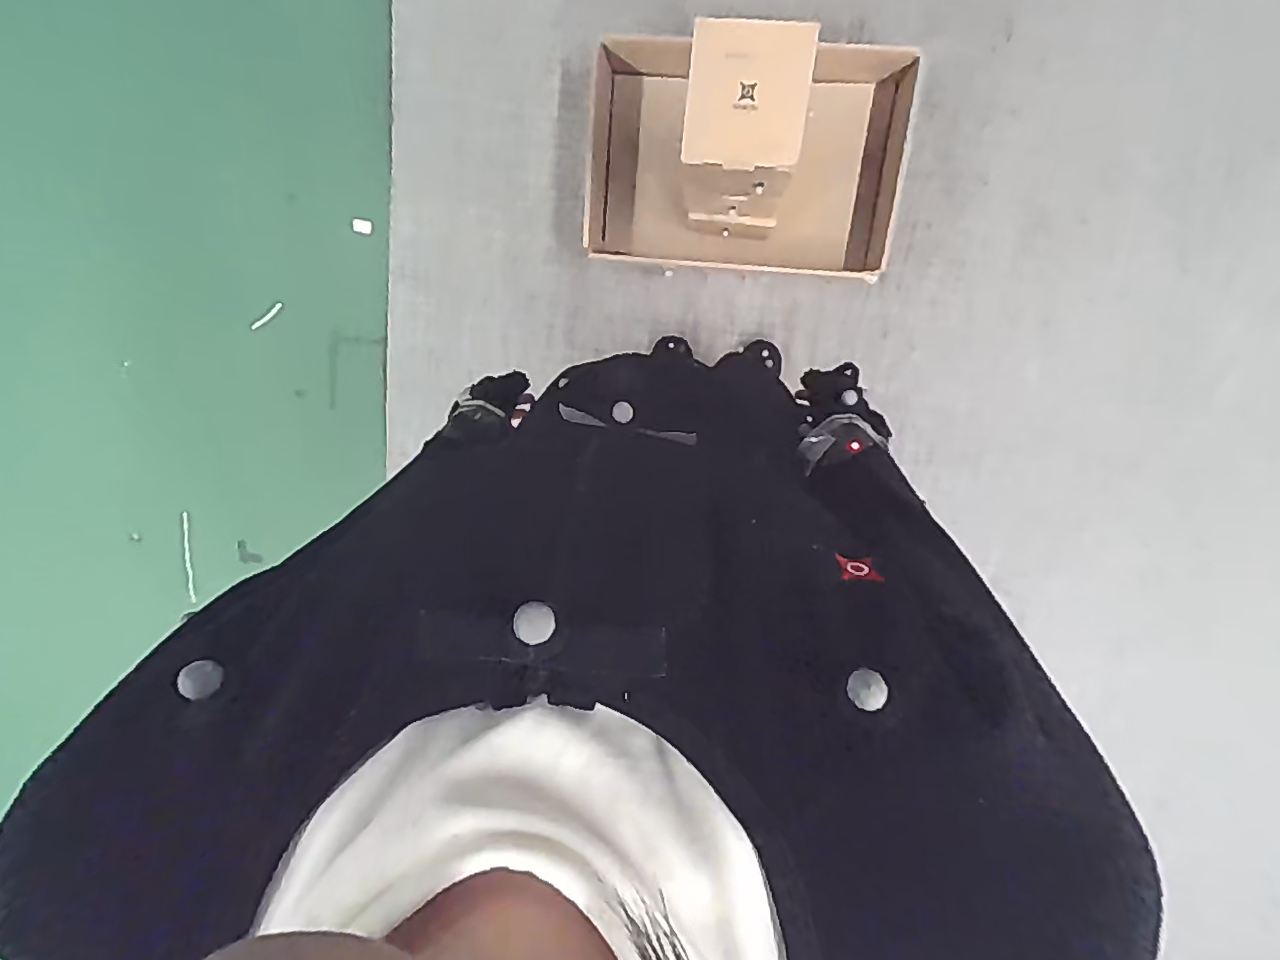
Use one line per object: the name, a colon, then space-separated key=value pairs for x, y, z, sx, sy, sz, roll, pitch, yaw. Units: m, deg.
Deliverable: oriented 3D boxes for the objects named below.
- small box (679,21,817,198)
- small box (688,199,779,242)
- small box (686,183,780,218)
small box: x=0.154 y=-0.541 z=0.814 sx=0.168 sy=0.176 sz=0.179 roll=7 pitch=105 yaw=5
small box: x=0.204 y=-0.613 z=1.145 sx=0.179 sy=0.176 sz=0.168 roll=10 pitch=105 yaw=6
small box: x=0.178 y=-0.589 z=0.988 sx=0.168 sy=0.176 sz=0.179 roll=5 pitch=105 yaw=7
